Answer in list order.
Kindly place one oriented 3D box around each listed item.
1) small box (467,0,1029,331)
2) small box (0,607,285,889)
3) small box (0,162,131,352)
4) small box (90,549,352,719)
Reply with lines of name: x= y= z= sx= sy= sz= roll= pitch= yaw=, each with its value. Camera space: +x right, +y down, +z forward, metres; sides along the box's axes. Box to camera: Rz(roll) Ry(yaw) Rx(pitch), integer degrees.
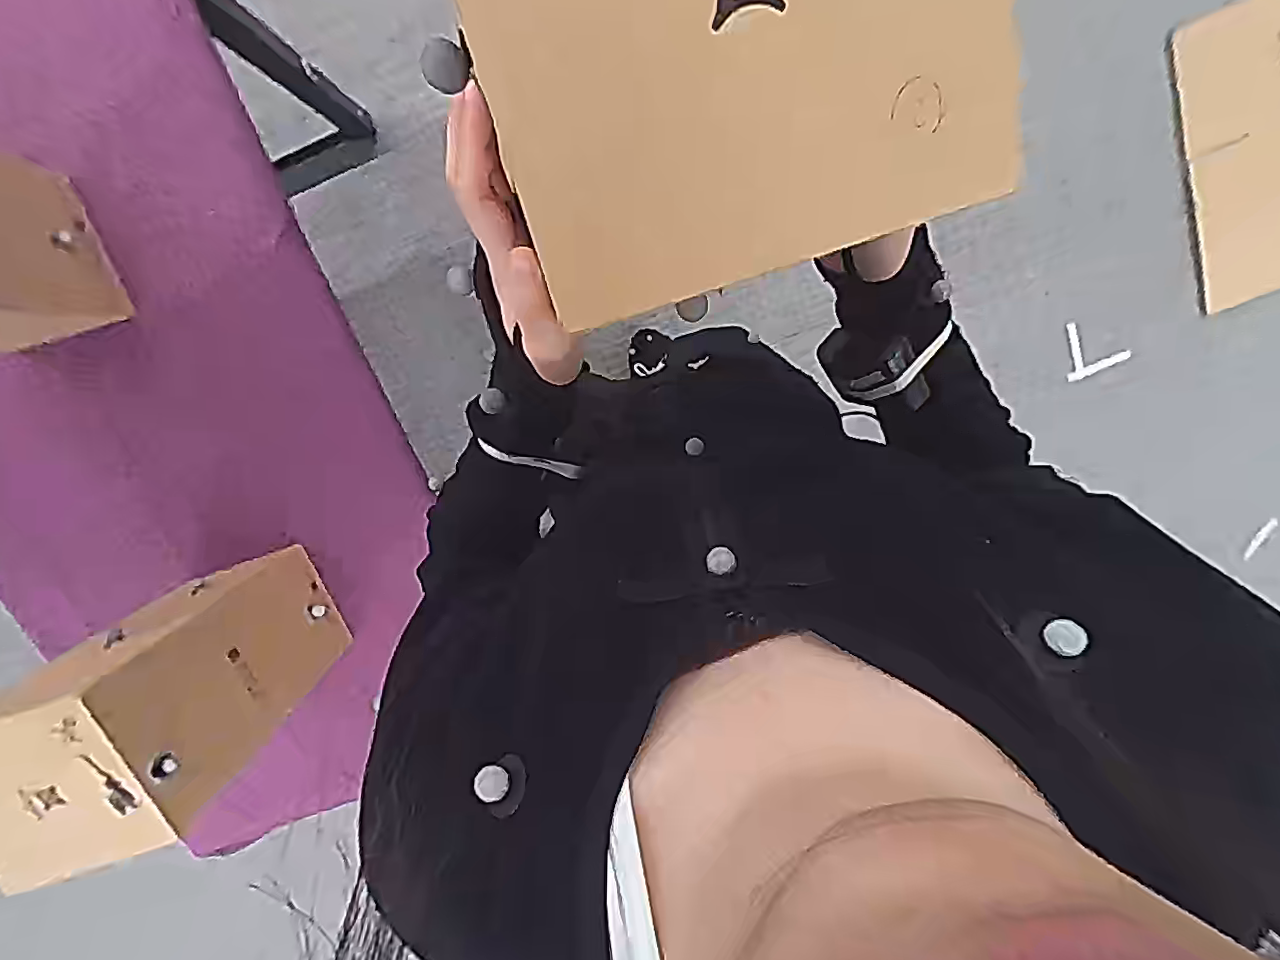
small box: x=0.023 y=-0.177 z=0.231 sx=0.168 sy=0.176 sz=0.179 roll=-18 pitch=109 yaw=-1
small box: x=-0.520 y=0.257 z=0.550 sx=0.179 sy=0.176 sz=0.168 roll=-18 pitch=105 yaw=4
small box: x=-0.729 y=-0.234 z=0.581 sx=0.179 sy=0.176 sz=0.168 roll=-15 pitch=106 yaw=2
small box: x=-0.525 y=0.213 z=0.708 sx=0.179 sy=0.176 sz=0.168 roll=-19 pitch=105 yaw=3
